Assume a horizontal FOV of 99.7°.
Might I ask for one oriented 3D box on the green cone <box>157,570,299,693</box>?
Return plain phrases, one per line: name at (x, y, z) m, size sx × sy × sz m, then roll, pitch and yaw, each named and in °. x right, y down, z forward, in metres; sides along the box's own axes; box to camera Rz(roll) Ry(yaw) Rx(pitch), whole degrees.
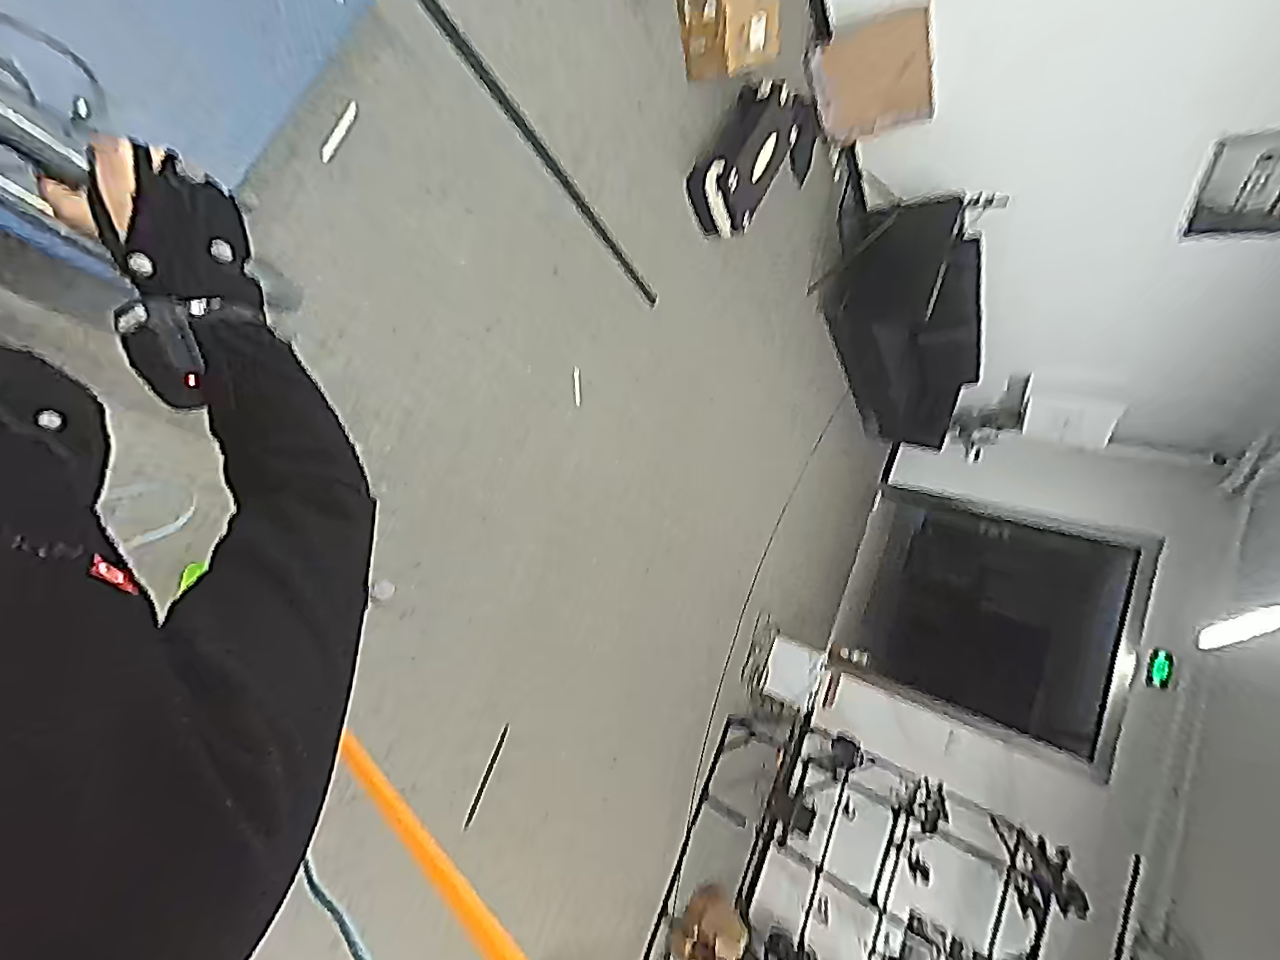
green cone at (-0.817, 0.341, 1.133) m, size 0.200 × 0.368 × 0.202 m, roll 14°, pitch 92°, yaw -55°
